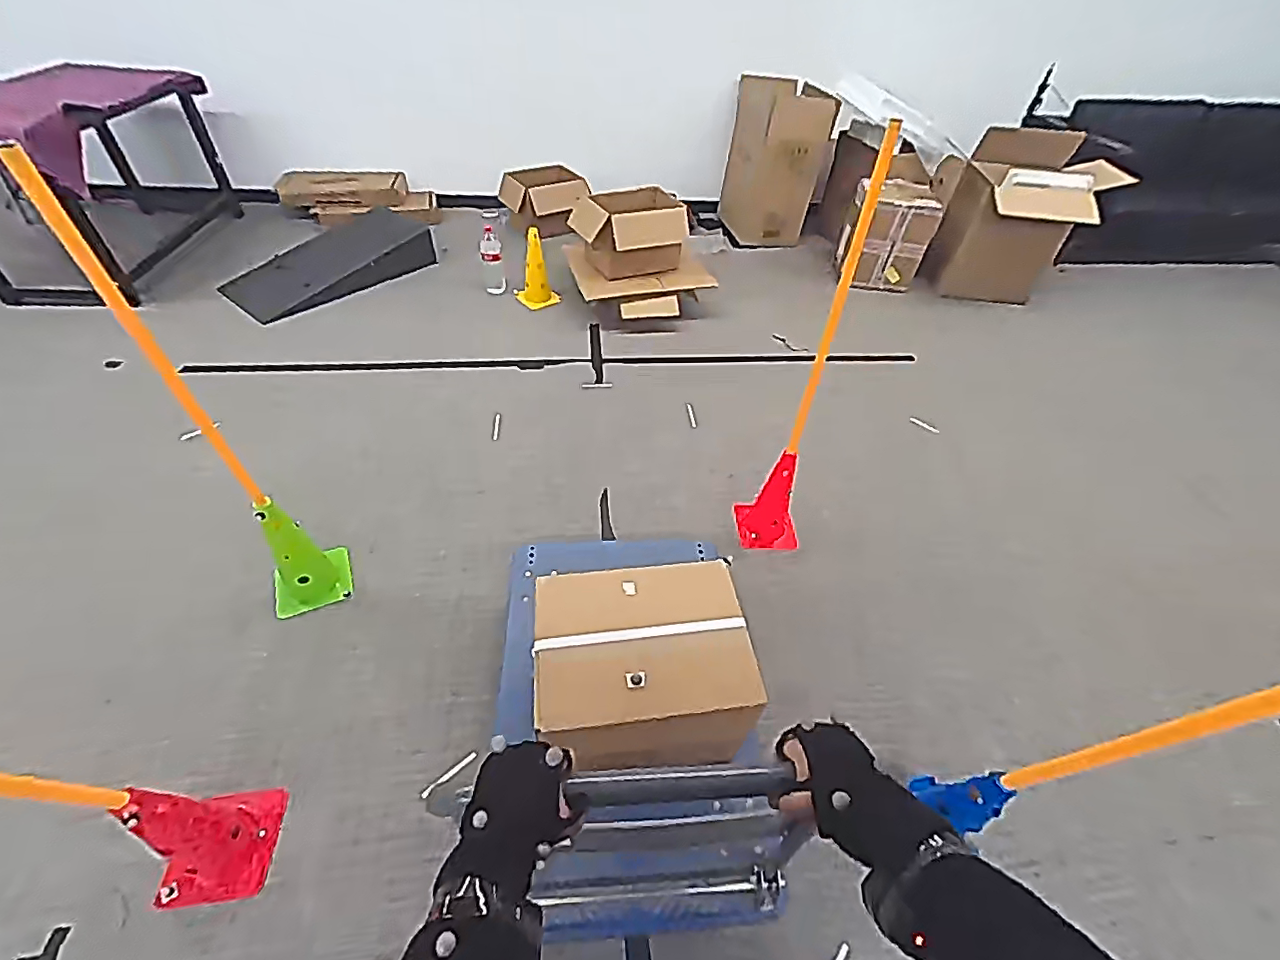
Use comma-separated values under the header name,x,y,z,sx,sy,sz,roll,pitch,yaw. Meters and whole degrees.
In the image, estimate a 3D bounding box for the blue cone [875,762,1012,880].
name,x,y,z,sx,sy,sz,roll,pitch,yaw
blue cone,0.676,0.690,1.144,0.193,0.380,0.192,-5,45,-10

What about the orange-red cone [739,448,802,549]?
name,x,y,z,sx,sy,sz,roll,pitch,yaw
orange-red cone,0.456,0.038,1.740,0.199,0.360,0.198,4,46,-3
